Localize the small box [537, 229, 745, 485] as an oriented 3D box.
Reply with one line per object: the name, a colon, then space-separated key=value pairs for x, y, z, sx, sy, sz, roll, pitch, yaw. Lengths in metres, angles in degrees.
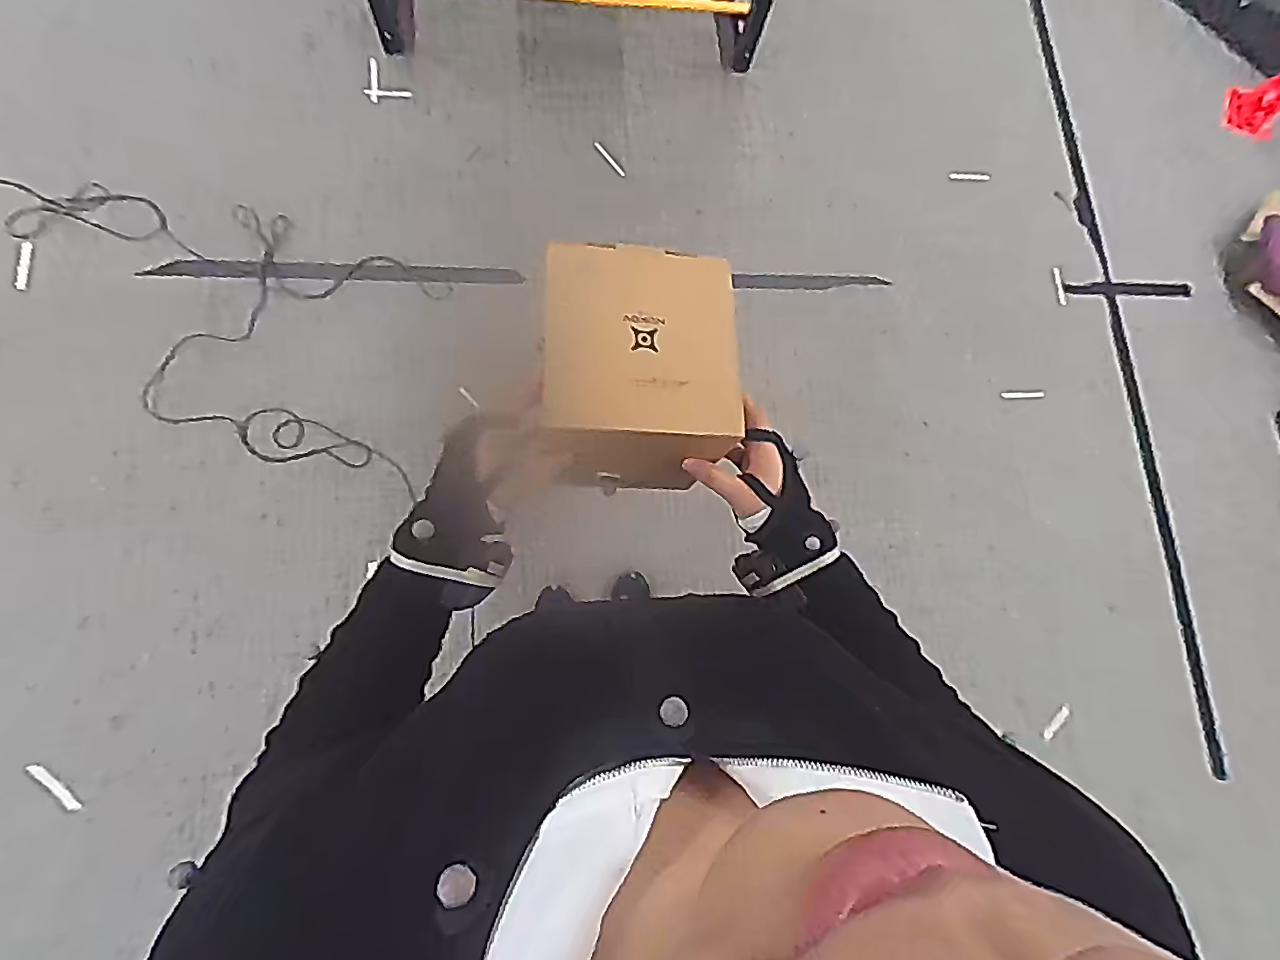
small box: x=-0.012 y=-0.105 z=0.525 sx=0.168 sy=0.176 sz=0.179 roll=2 pitch=73 yaw=-11
